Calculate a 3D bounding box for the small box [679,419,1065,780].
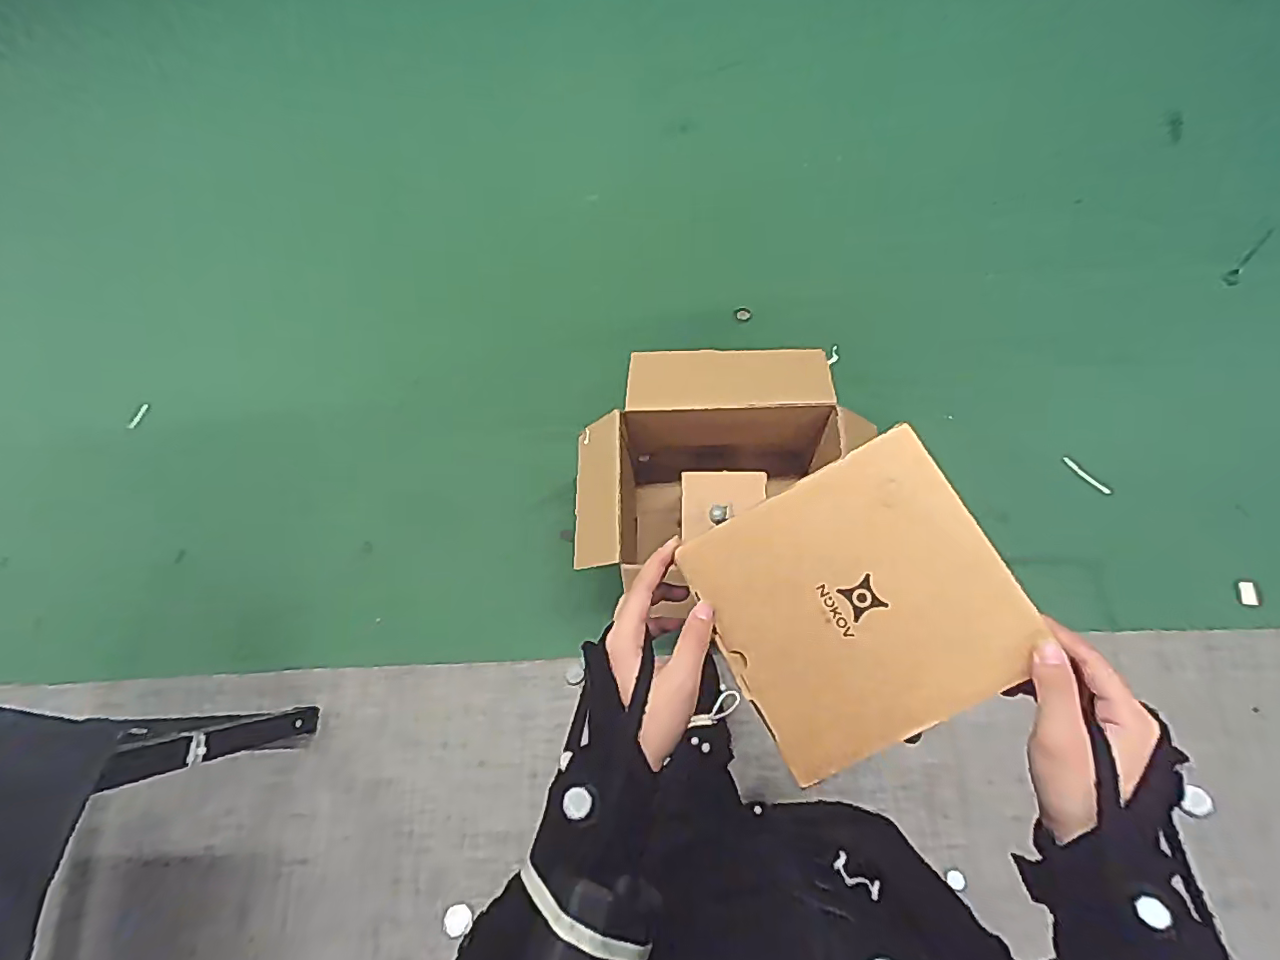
[{"bbox_3d":[0.148,0.080,0.411,0.179,0.176,0.168,-30,78,6],"label":"small box"}]
